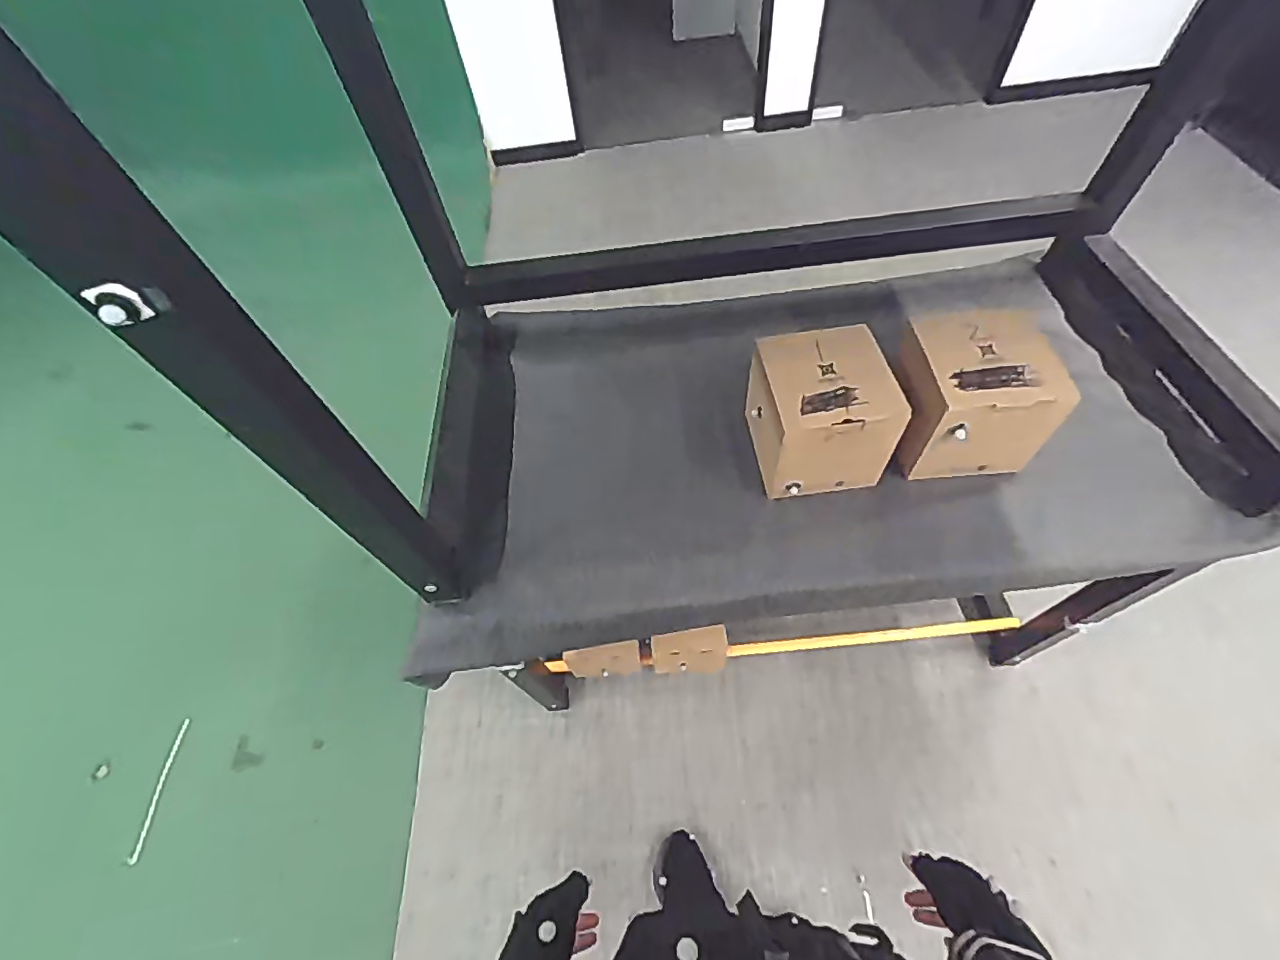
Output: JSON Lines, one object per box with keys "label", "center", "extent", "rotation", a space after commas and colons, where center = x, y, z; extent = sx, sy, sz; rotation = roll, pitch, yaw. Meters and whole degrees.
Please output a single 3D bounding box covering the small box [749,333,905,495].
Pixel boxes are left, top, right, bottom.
{"label": "small box", "center": [0.265, -0.090, 0.813], "extent": [0.168, 0.176, 0.179], "rotation": [-7, 55, 1]}
